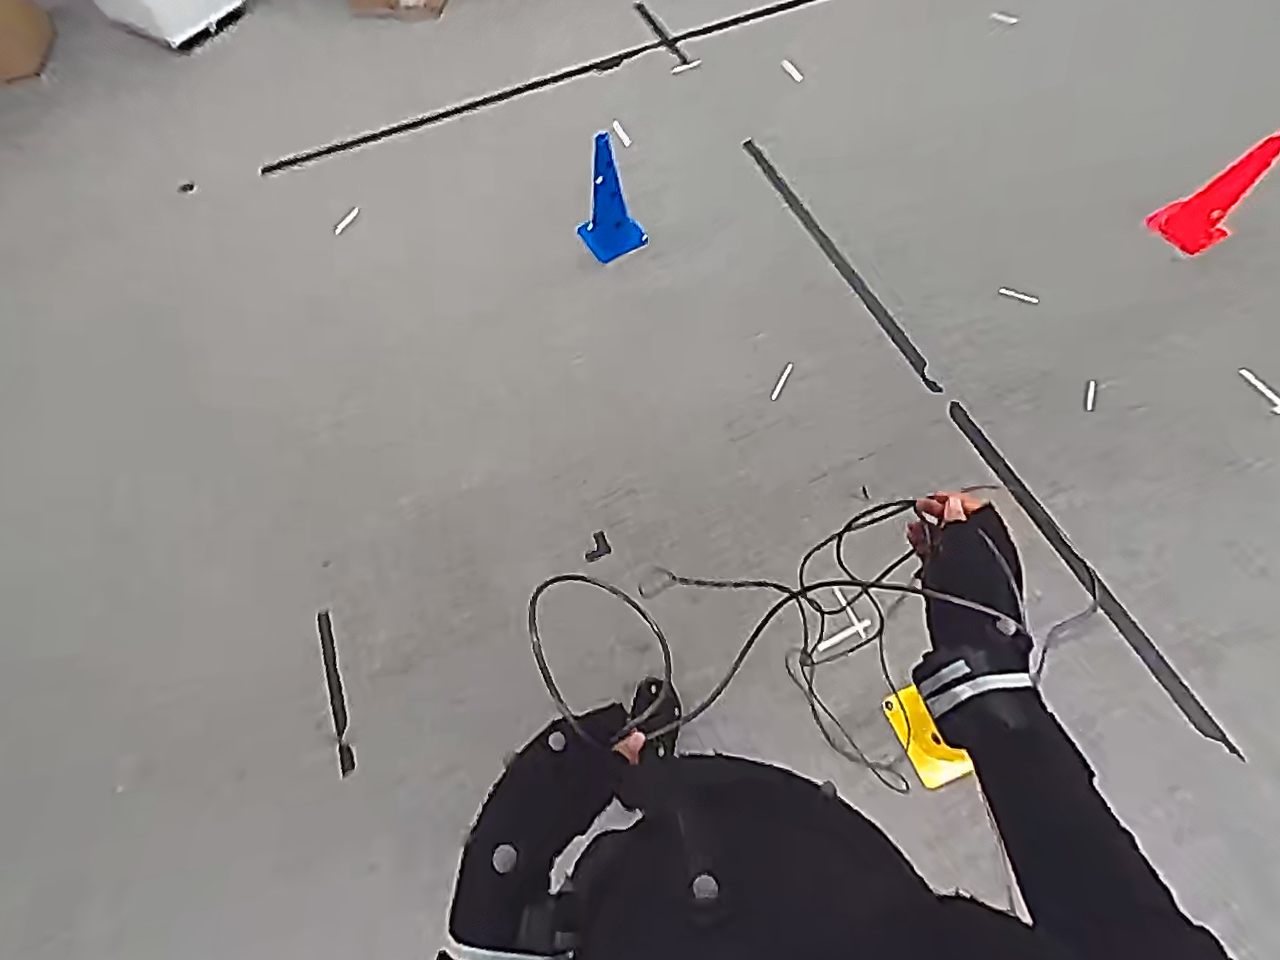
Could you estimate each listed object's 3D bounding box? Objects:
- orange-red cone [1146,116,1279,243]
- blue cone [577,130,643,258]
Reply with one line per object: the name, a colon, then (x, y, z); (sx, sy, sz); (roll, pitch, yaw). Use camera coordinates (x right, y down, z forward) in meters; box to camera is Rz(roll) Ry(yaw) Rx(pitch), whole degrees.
orange-red cone: (1.839, -0.963, 1.673); (0.198, 0.360, 0.199); (-28, 67, -10)
blue cone: (-0.118, -0.931, 1.744); (0.192, 0.380, 0.193); (-28, 68, -10)
